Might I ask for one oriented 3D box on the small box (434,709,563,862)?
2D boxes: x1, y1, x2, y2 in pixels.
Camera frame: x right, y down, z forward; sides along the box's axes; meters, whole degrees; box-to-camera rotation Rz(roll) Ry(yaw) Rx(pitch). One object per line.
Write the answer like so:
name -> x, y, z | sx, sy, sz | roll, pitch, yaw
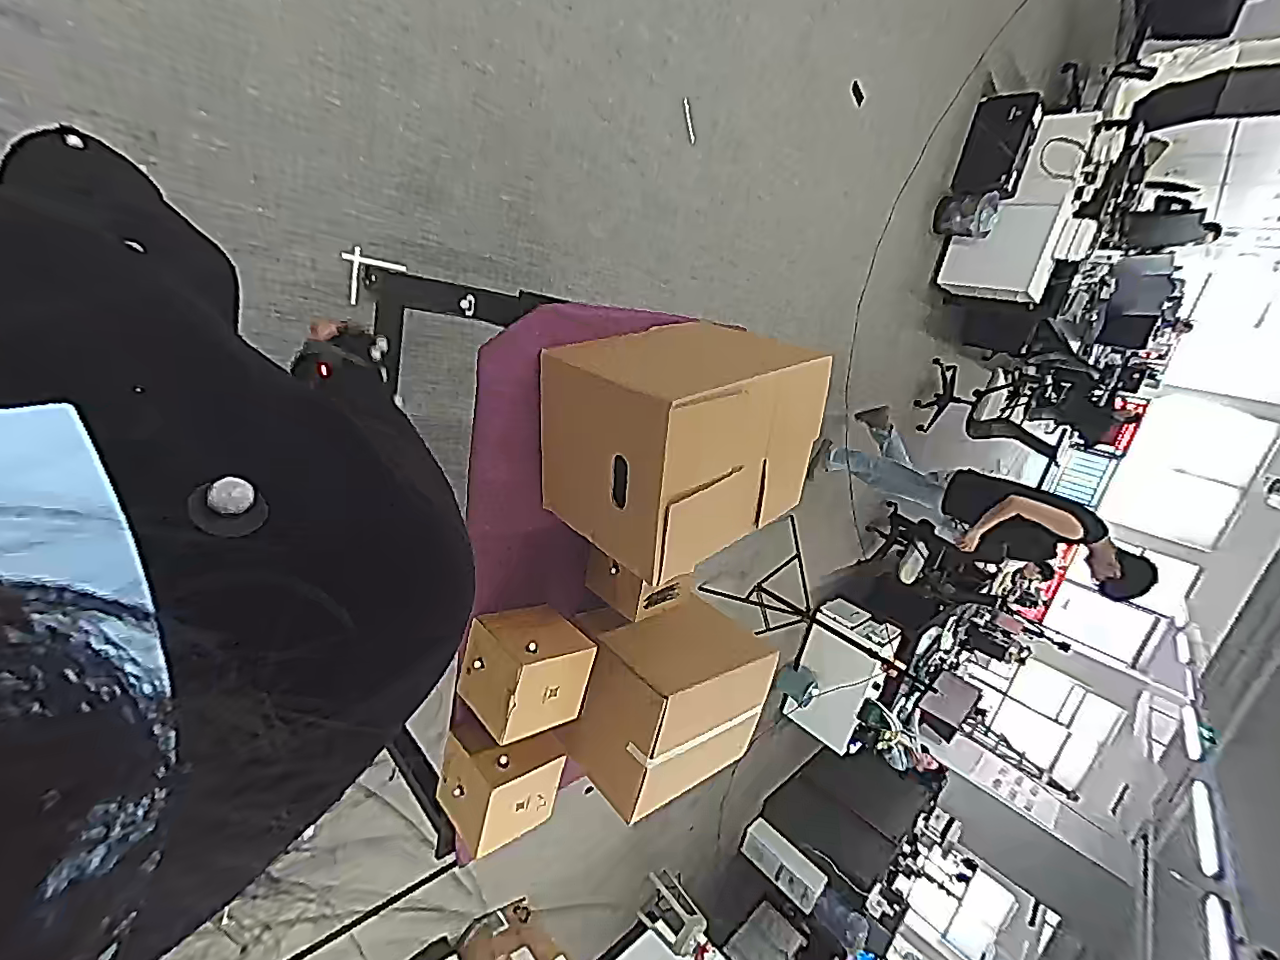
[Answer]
small box -> -0.287, 0.598, 1.084 | 0.179, 0.176, 0.168 | 0, 111, -49
